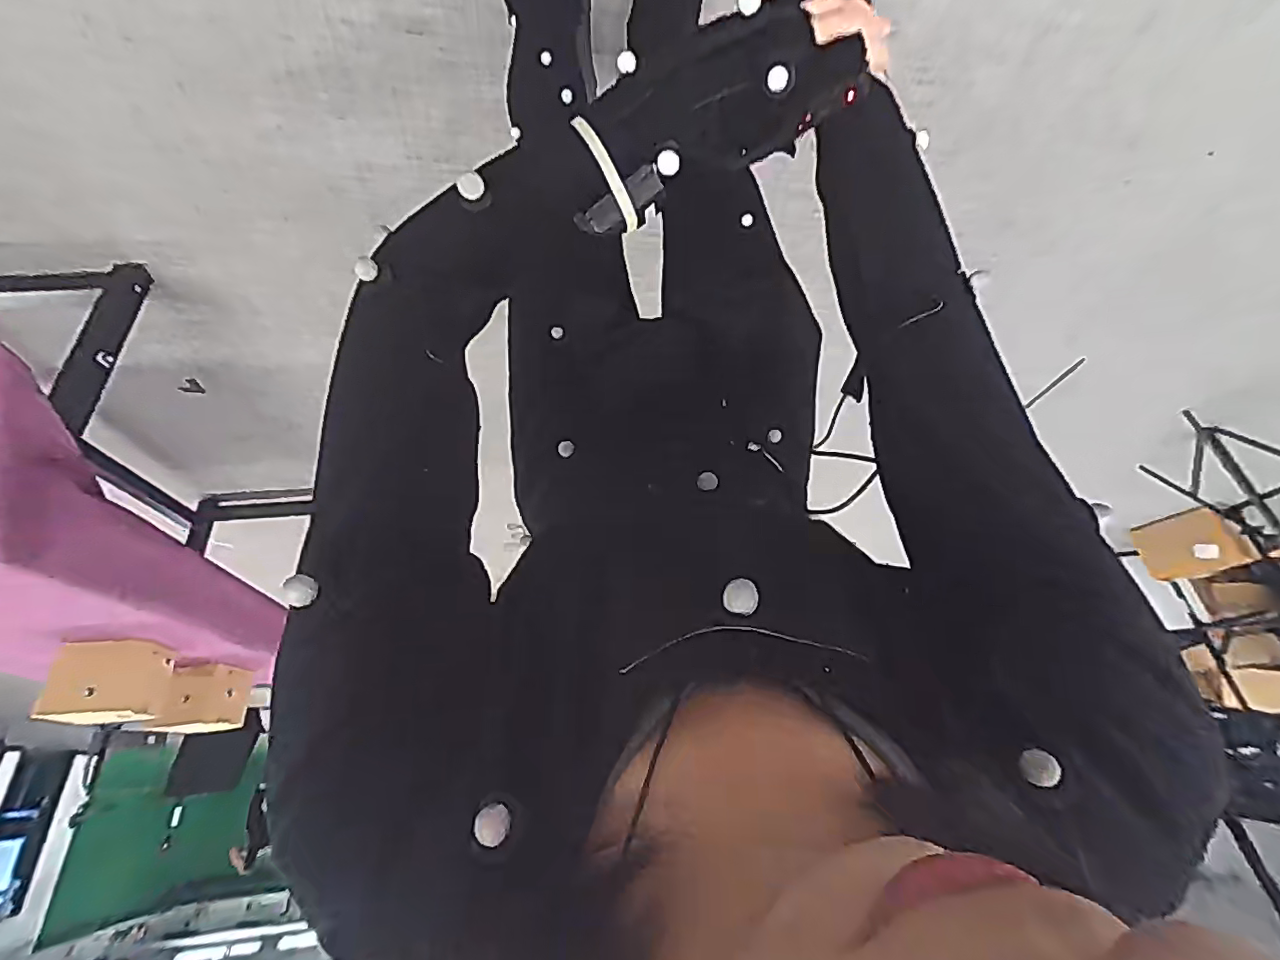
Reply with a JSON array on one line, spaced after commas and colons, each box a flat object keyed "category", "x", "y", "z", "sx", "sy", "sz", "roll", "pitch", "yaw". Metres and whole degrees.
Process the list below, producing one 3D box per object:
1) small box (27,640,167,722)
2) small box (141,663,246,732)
[{"category": "small box", "x": -1.333, "y": 0.500, "z": 1.349, "sx": 0.179, "sy": 0.176, "sz": 0.168, "roll": 1, "pitch": 150, "yaw": -12}, {"category": "small box", "x": -1.337, "y": 0.659, "z": 1.638, "sx": 0.179, "sy": 0.176, "sz": 0.168, "roll": -7, "pitch": 151, "yaw": 1}]
